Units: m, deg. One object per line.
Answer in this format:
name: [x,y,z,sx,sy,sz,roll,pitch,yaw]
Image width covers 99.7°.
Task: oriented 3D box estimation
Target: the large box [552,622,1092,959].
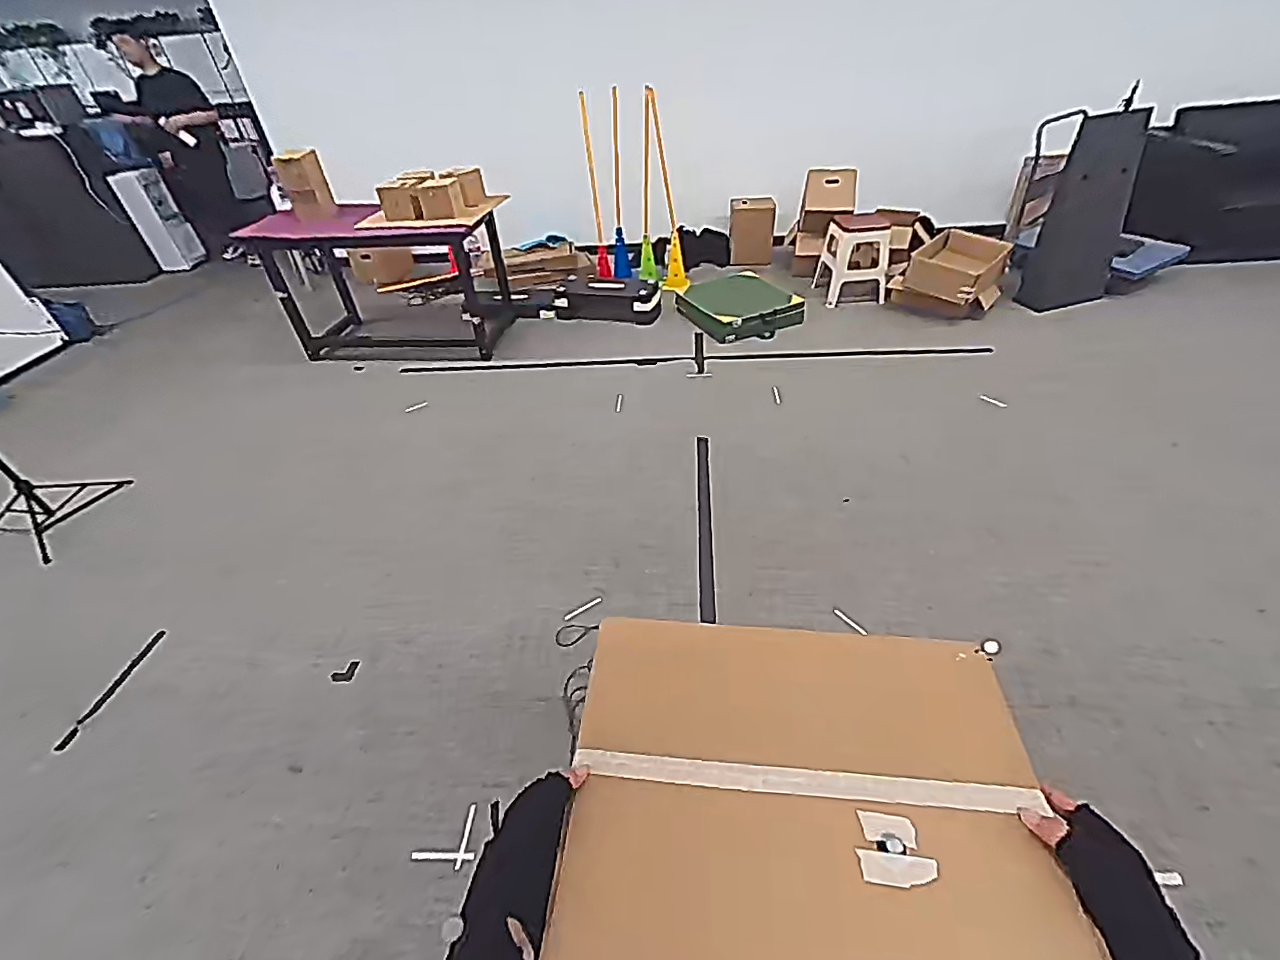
large box: [0.148,0.382,0.591,0.408,0.320,0.320,3,43,6]
